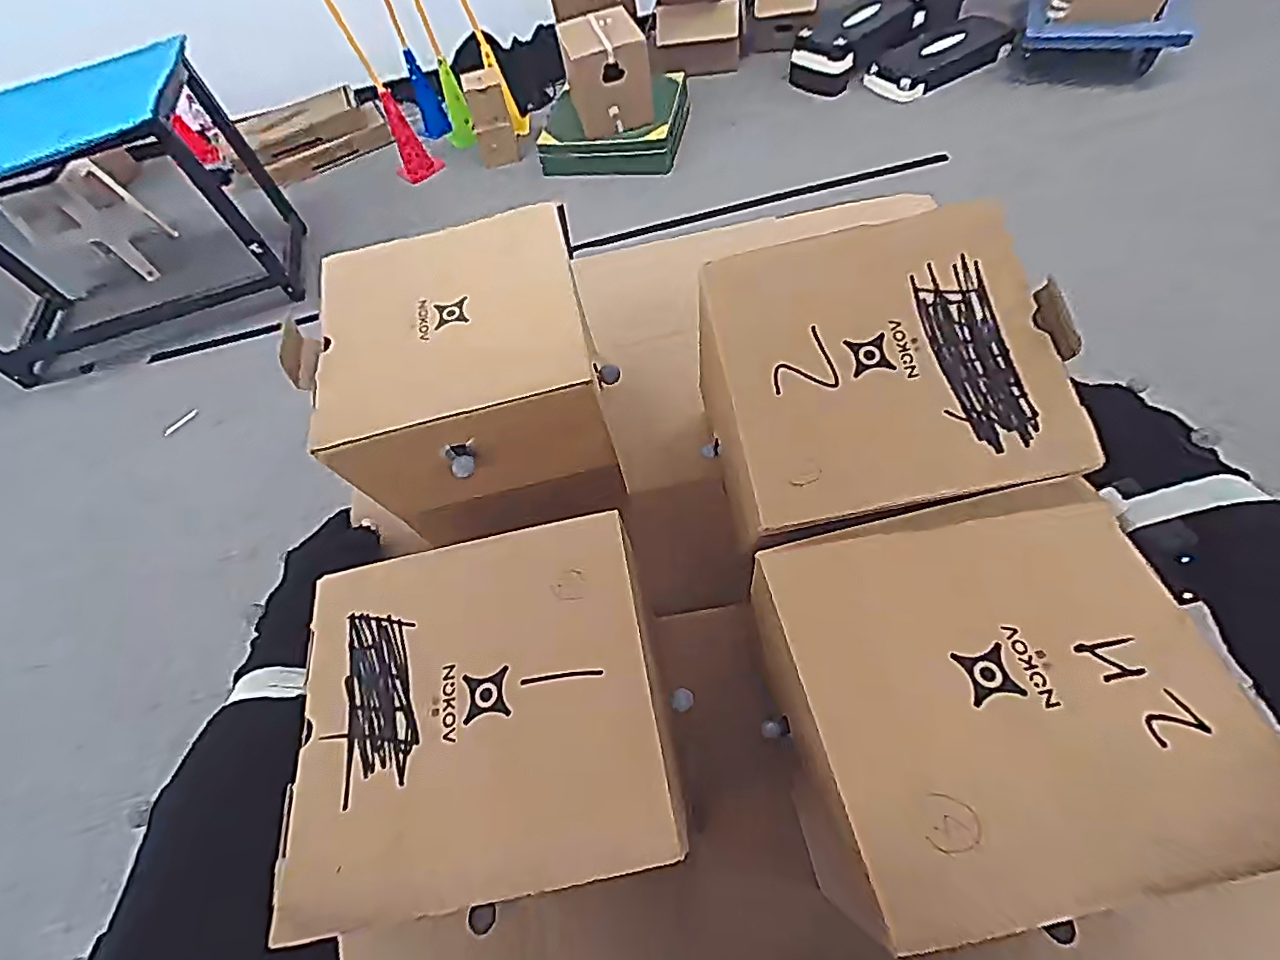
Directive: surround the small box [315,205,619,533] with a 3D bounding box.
[{"bbox_3d":[-0.120,-0.075,0.434,0.179,0.176,0.168,-15,63,2],"label":"small box"}]
